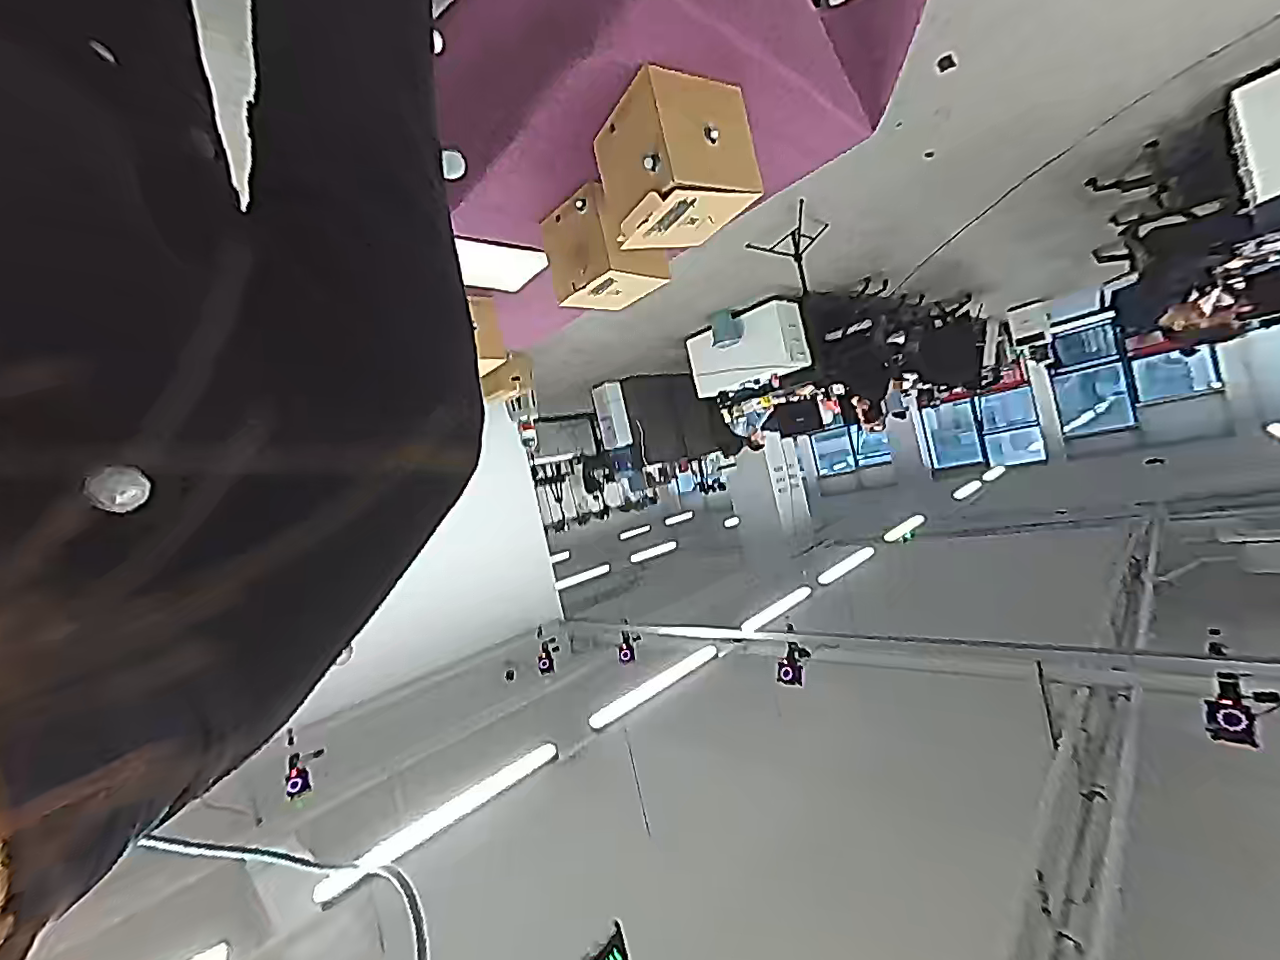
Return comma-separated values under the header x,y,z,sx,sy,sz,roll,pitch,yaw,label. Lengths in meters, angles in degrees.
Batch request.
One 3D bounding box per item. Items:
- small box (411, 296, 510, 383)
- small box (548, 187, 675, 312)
x,y,z,sx,sy,sz,roll,pitch,yaw,label
-0.463,-0.358,1.383,0.179,0.176,0.168,-13,180,44,small box
-0.060,-0.452,1.079,0.168,0.176,0.179,-13,-179,45,small box
